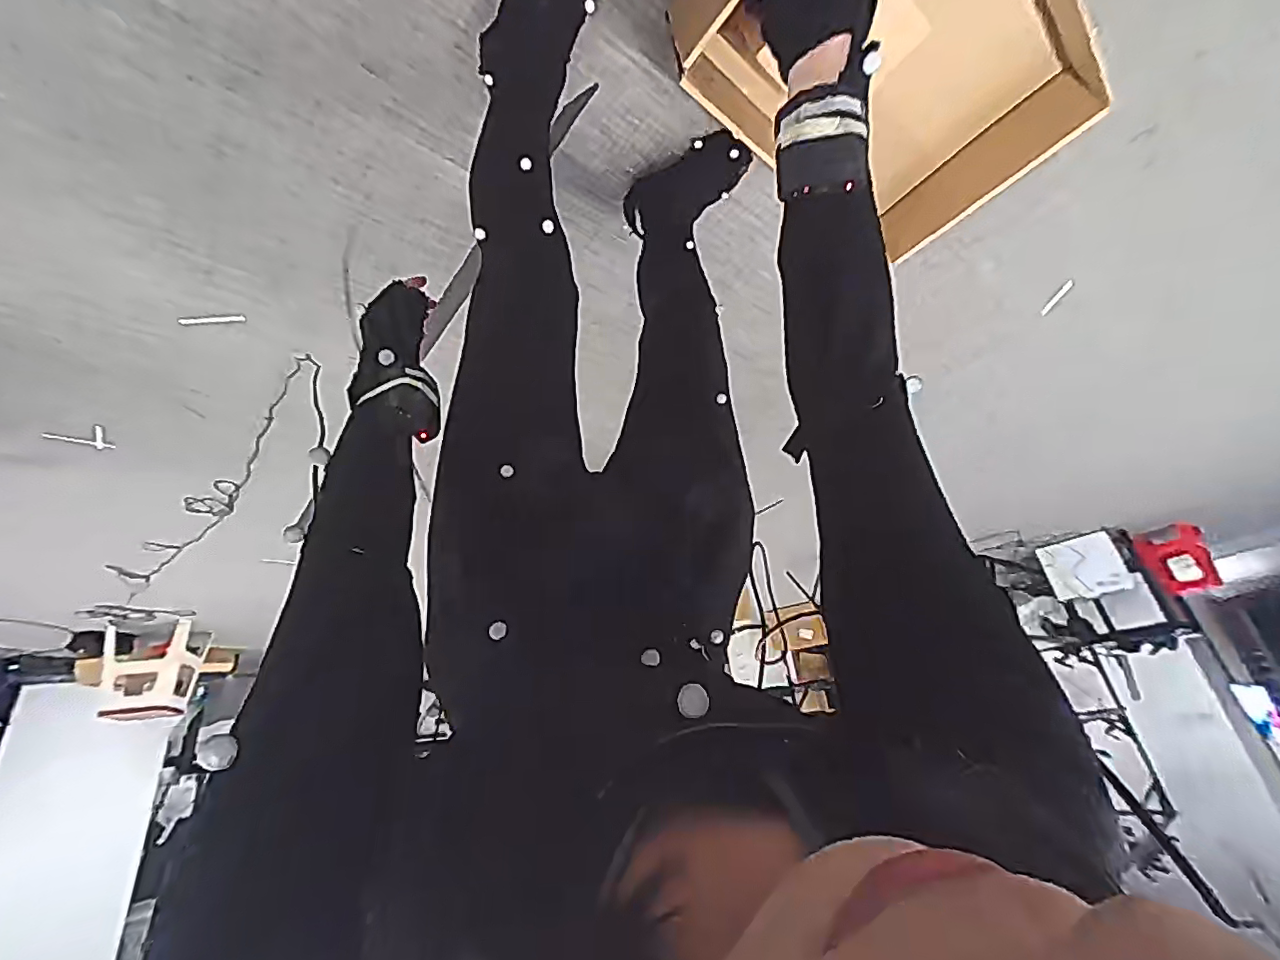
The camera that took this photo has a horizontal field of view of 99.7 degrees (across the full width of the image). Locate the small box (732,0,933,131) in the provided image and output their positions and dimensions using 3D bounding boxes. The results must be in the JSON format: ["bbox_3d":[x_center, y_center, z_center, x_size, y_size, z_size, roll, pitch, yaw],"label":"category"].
[{"bbox_3d":[0.252,-0.636,0.730,0.179,0.176,0.168,13,145,-39],"label":"small box"}]
